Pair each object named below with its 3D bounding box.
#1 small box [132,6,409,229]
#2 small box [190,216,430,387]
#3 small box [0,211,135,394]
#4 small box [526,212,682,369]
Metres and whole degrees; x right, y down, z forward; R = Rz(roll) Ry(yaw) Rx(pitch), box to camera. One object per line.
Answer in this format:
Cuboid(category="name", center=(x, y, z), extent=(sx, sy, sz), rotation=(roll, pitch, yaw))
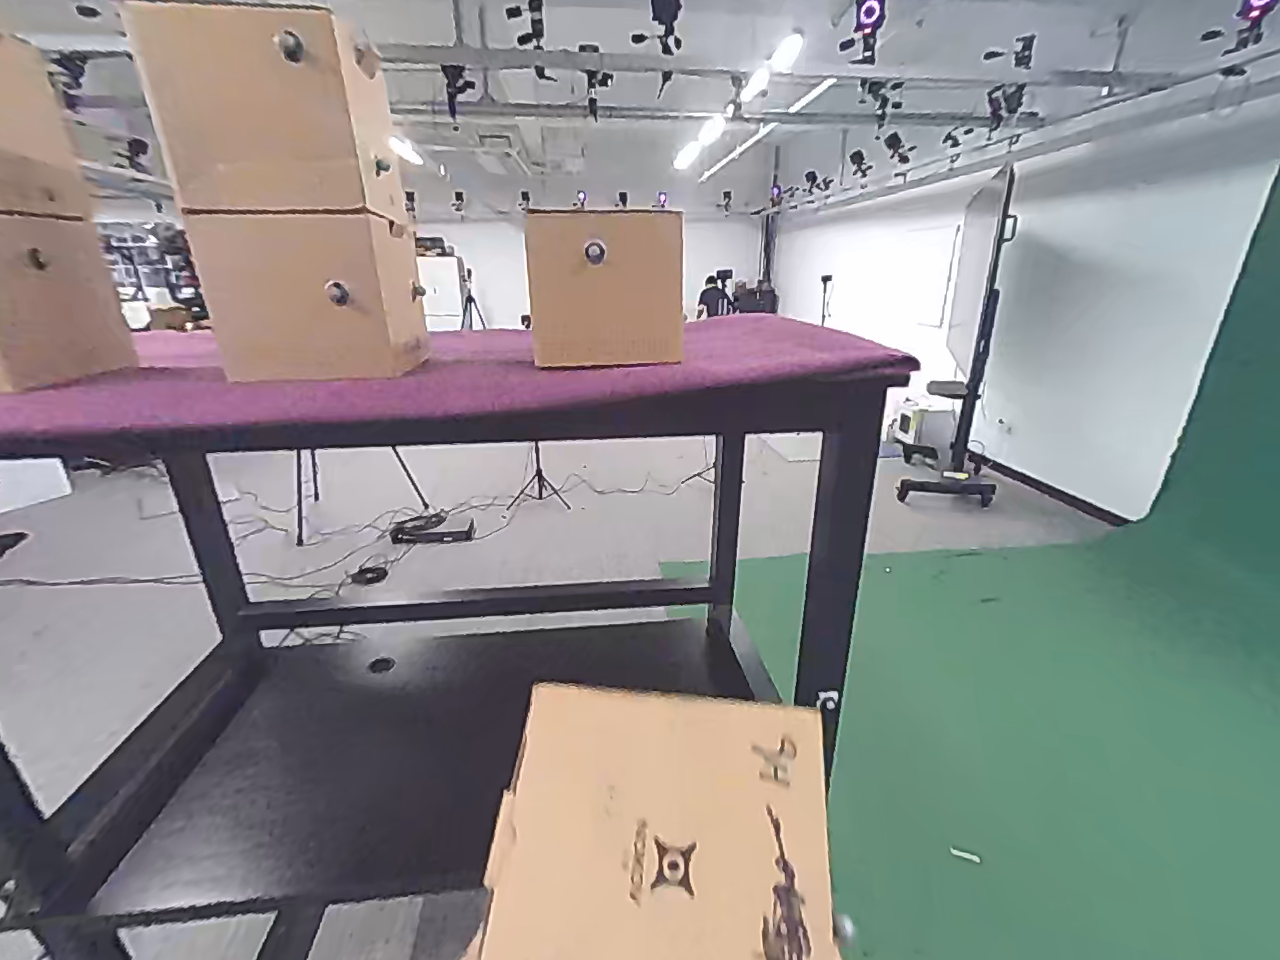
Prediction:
Cuboid(category="small box", center=(-0.368, -0.362, 0.579), extent=(0.179, 0.176, 0.168), rotation=(-4, 20, -8))
Cuboid(category="small box", center=(-0.360, -0.208, 0.634), extent=(0.179, 0.176, 0.168), rotation=(-4, 20, -6))
Cuboid(category="small box", center=(-0.696, -0.187, 0.570), extent=(0.168, 0.176, 0.179), rotation=(-2, 21, -8))
Cuboid(category="small box", center=(-0.042, -0.234, 0.691), extent=(0.179, 0.176, 0.168), rotation=(-2, 18, -4))
